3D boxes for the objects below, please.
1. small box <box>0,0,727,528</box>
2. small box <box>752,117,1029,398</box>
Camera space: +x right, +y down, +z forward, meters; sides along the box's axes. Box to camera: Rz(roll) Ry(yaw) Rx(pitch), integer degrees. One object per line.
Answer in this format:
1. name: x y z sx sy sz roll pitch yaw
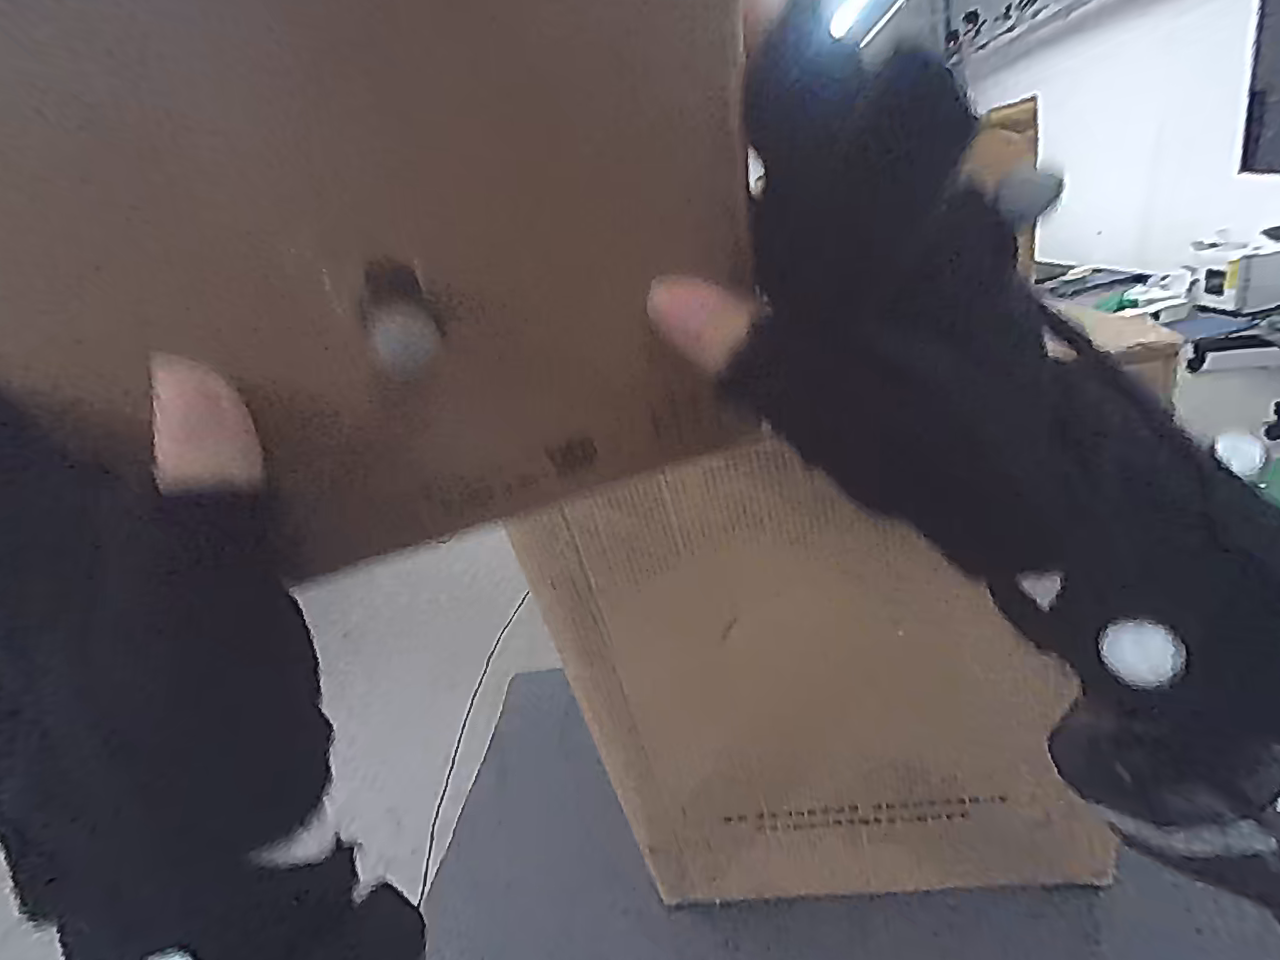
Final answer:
1. small box: -0.077 -0.104 0.179 0.168 0.176 0.179 -17 51 1
2. small box: 0.197 -0.178 0.462 0.168 0.176 0.179 -10 25 10
